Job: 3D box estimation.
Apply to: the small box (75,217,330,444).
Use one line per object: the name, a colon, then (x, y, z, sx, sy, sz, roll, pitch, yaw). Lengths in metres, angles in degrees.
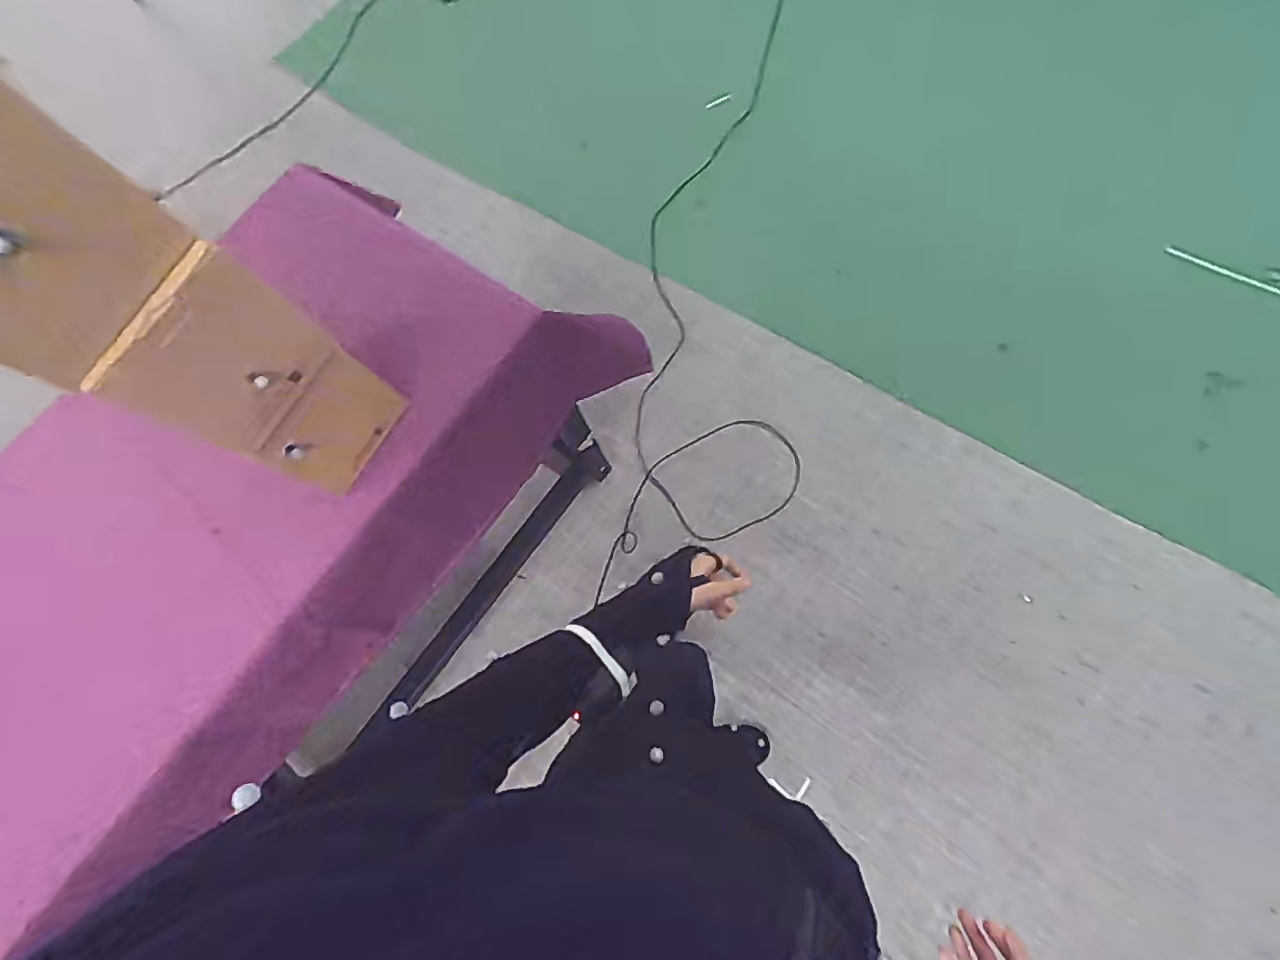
small box: (-0.485, -0.160, 0.572, 0.179, 0.176, 0.168, 27, 79, 16)

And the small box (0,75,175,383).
small box: (-0.523, -0.208, 0.419, 0.168, 0.176, 0.179, 25, 78, 16)
